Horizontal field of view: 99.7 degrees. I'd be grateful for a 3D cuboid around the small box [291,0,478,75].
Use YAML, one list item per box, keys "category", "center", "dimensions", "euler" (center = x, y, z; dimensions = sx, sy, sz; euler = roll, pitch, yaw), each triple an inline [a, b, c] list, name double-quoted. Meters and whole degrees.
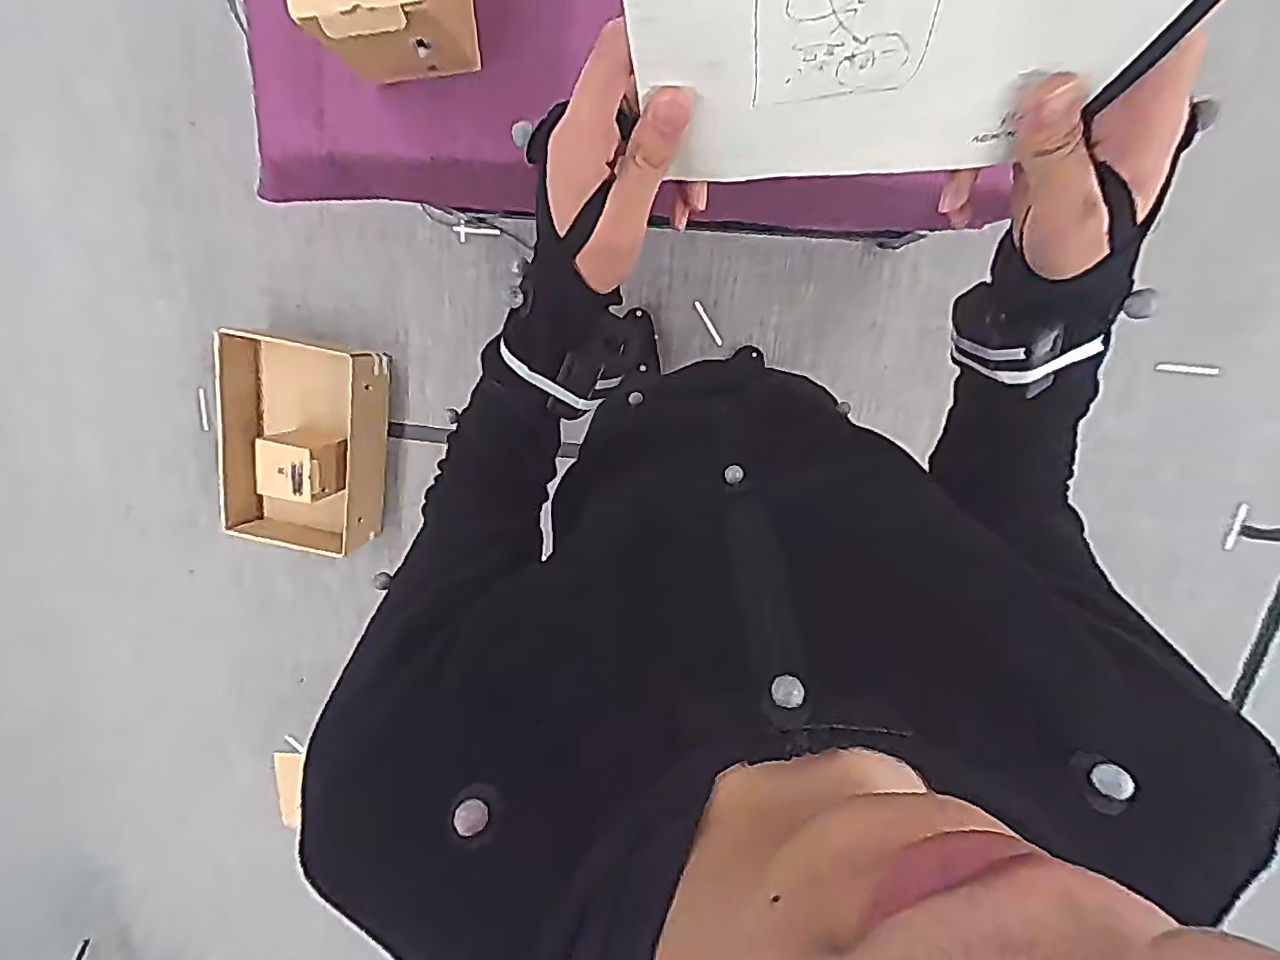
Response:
- category: "small box"
  center: [-0.315, -0.637, 0.672]
  dimensions: [0.168, 0.176, 0.179]
  euler: [-2, 105, 6]
